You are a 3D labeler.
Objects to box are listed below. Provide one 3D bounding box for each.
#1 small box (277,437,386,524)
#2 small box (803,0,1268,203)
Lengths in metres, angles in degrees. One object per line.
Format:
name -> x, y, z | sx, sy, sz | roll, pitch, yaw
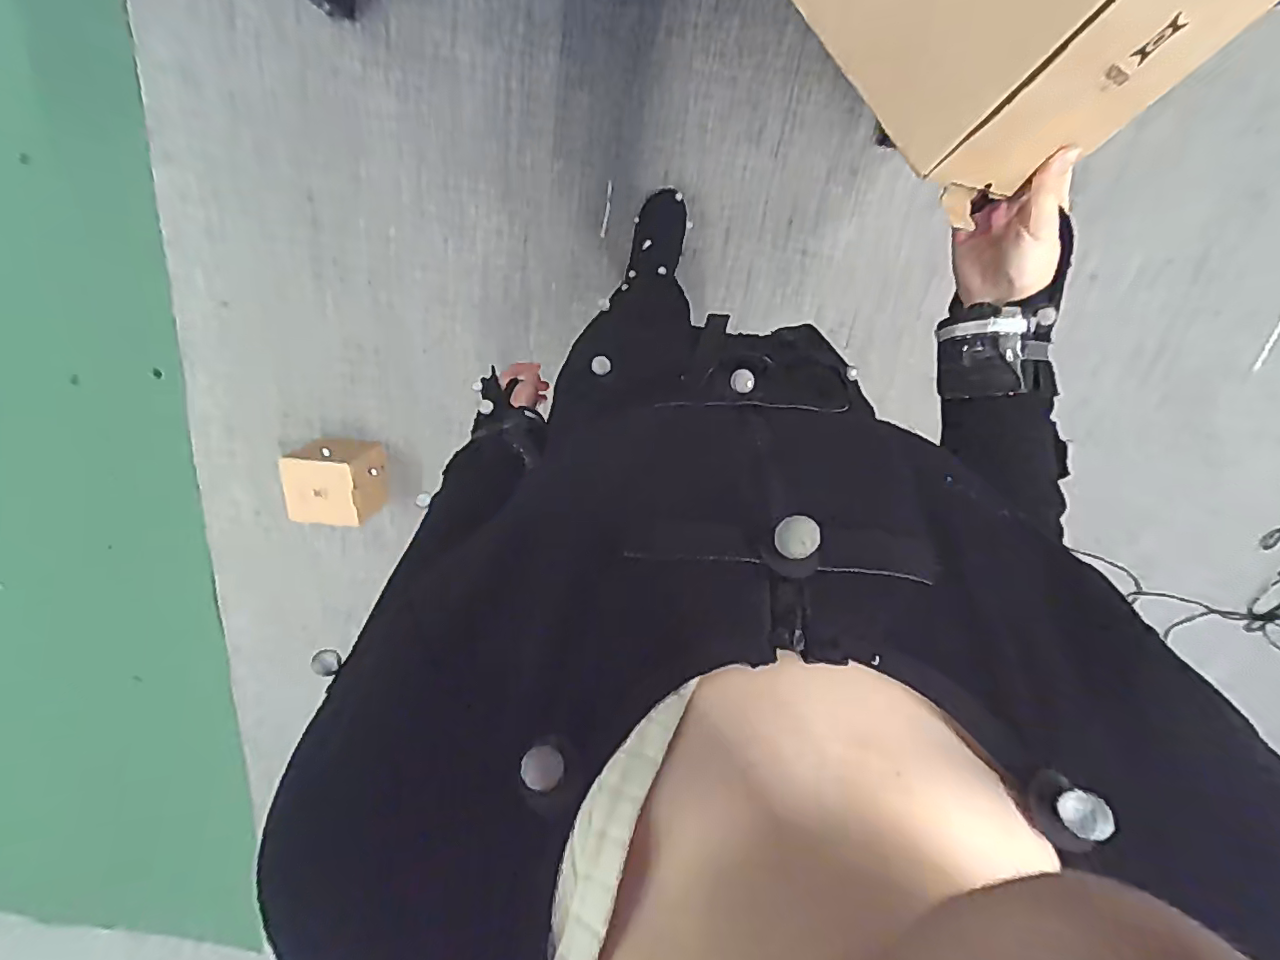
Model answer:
small box -> -0.756, -0.004, 1.352 | 0.179, 0.176, 0.168 | 5, 111, 2
small box -> 0.217, -0.294, 0.302 | 0.179, 0.168, 0.176 | -42, 71, 50
